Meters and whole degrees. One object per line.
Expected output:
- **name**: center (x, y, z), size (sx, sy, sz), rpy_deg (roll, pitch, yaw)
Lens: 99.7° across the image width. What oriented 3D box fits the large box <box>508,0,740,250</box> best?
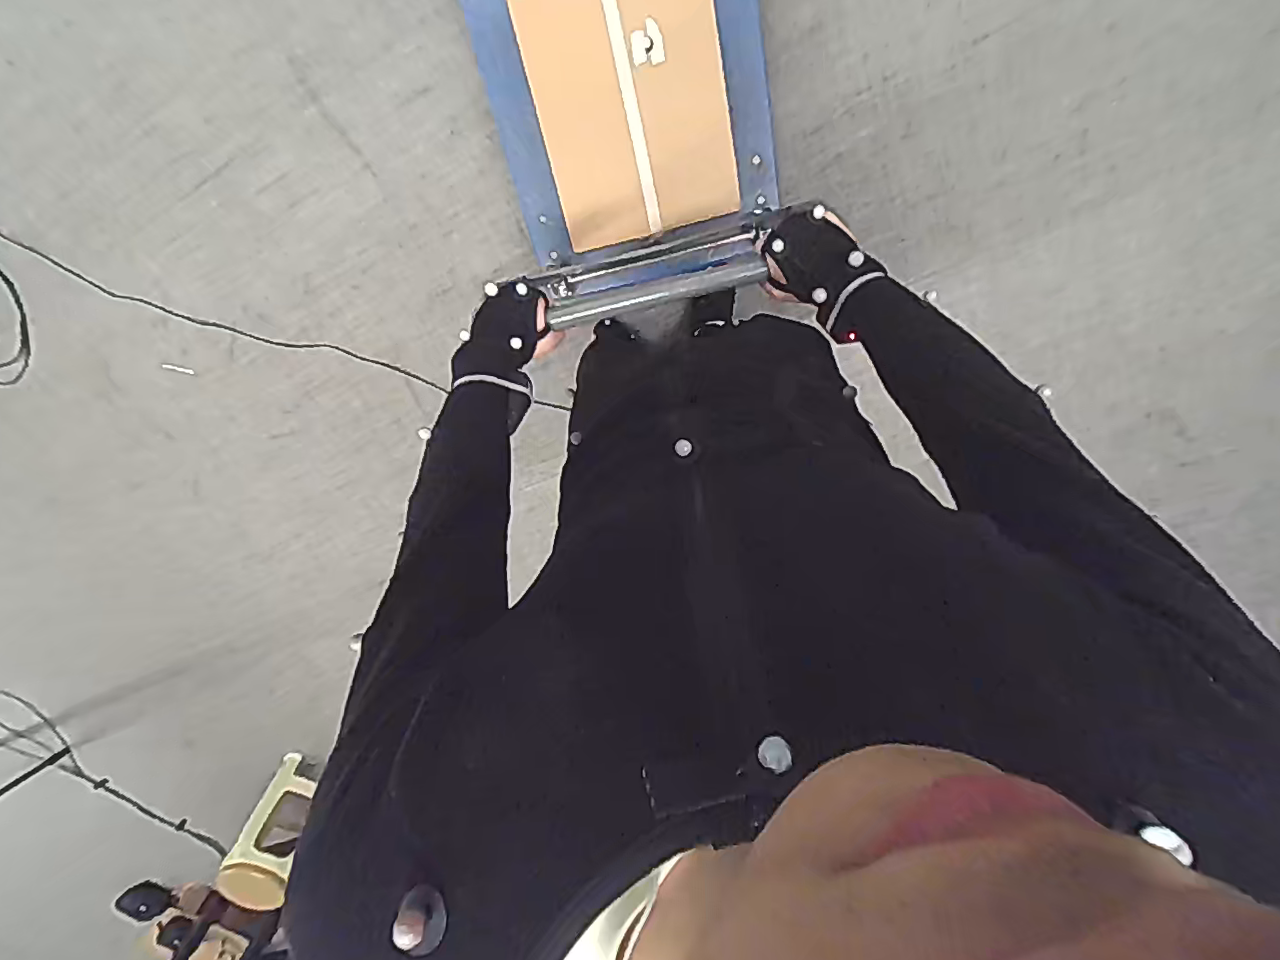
- **large box**: center (-0.006, -0.690, 1.027), size (0.320, 0.320, 0.408), rpy_deg (-10, 114, 8)
